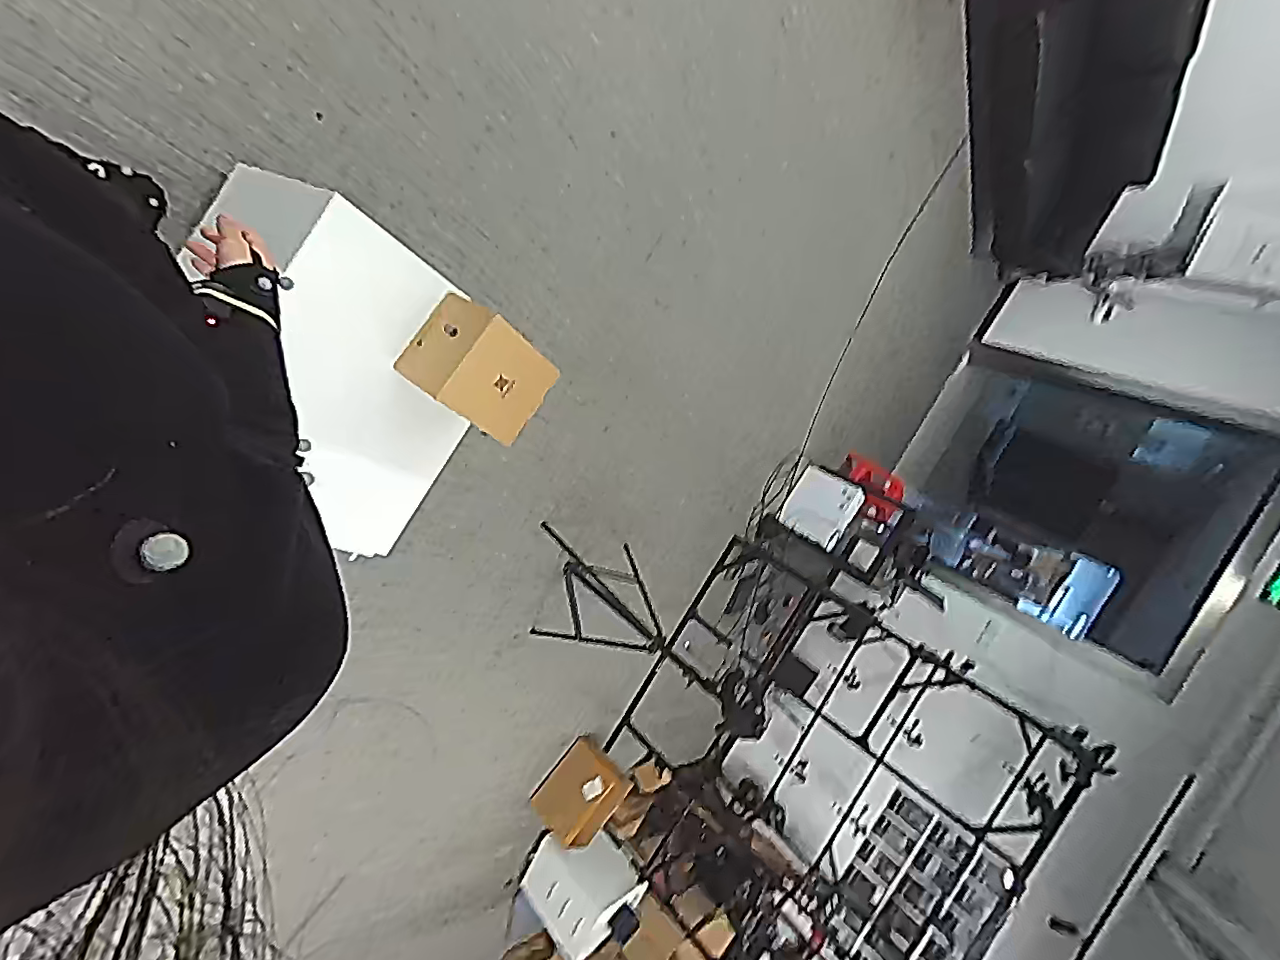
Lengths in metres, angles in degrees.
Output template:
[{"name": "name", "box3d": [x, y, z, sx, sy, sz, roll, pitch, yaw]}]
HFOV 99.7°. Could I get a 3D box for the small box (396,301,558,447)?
[{"name": "small box", "box3d": [-0.286, -0.190, 0.944, 0.168, 0.176, 0.179, -55, 144, -4]}]
